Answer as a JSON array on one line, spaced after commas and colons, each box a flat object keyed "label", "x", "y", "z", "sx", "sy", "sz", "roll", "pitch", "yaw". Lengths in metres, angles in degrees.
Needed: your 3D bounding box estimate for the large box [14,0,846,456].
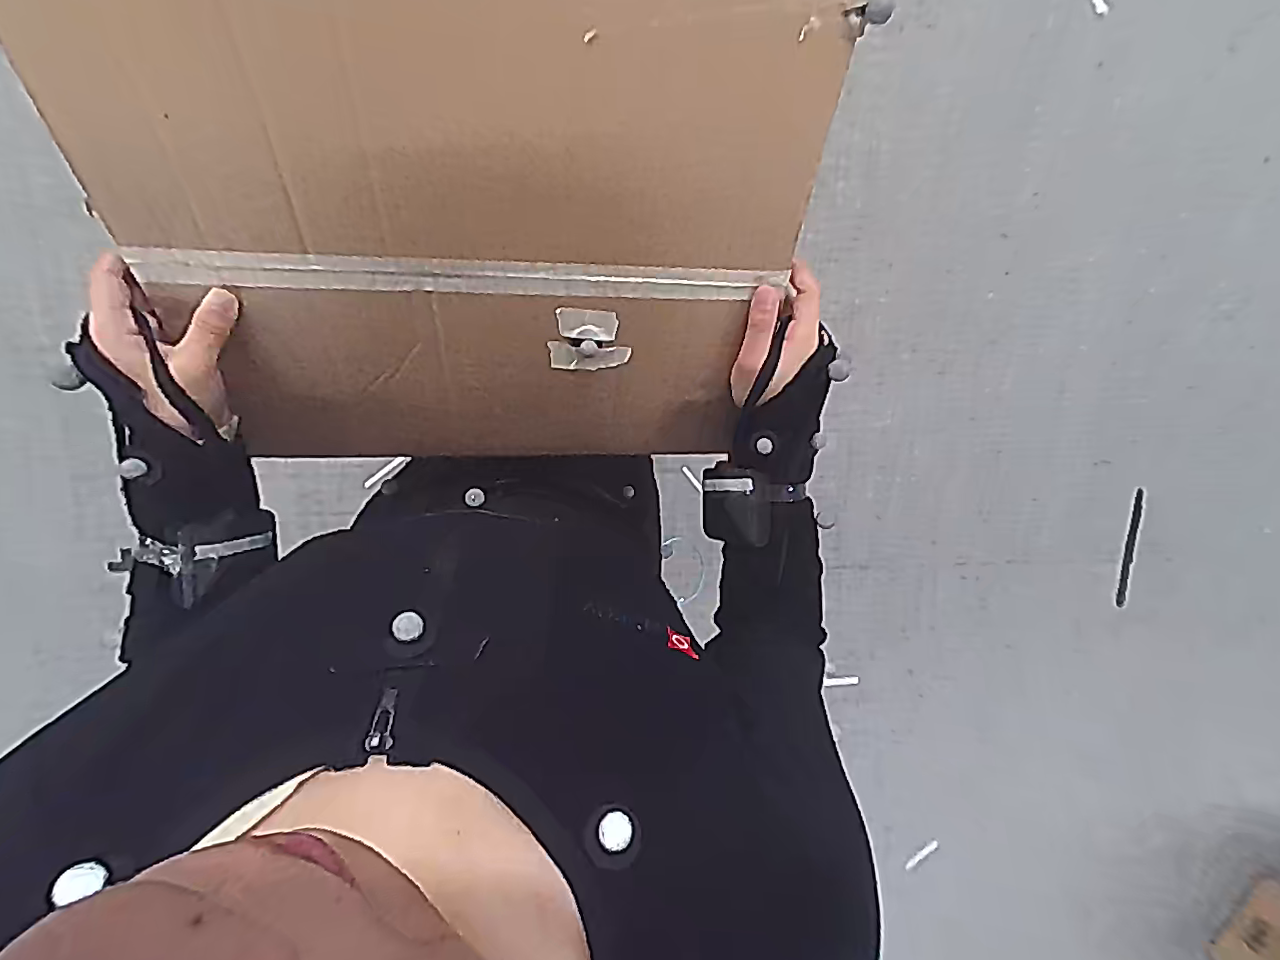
[{"label": "large box", "x": -0.118, "y": -0.241, "z": 0.462, "sx": 0.408, "sy": 0.320, "sz": 0.320, "roll": -2, "pitch": 135, "yaw": -9}]
